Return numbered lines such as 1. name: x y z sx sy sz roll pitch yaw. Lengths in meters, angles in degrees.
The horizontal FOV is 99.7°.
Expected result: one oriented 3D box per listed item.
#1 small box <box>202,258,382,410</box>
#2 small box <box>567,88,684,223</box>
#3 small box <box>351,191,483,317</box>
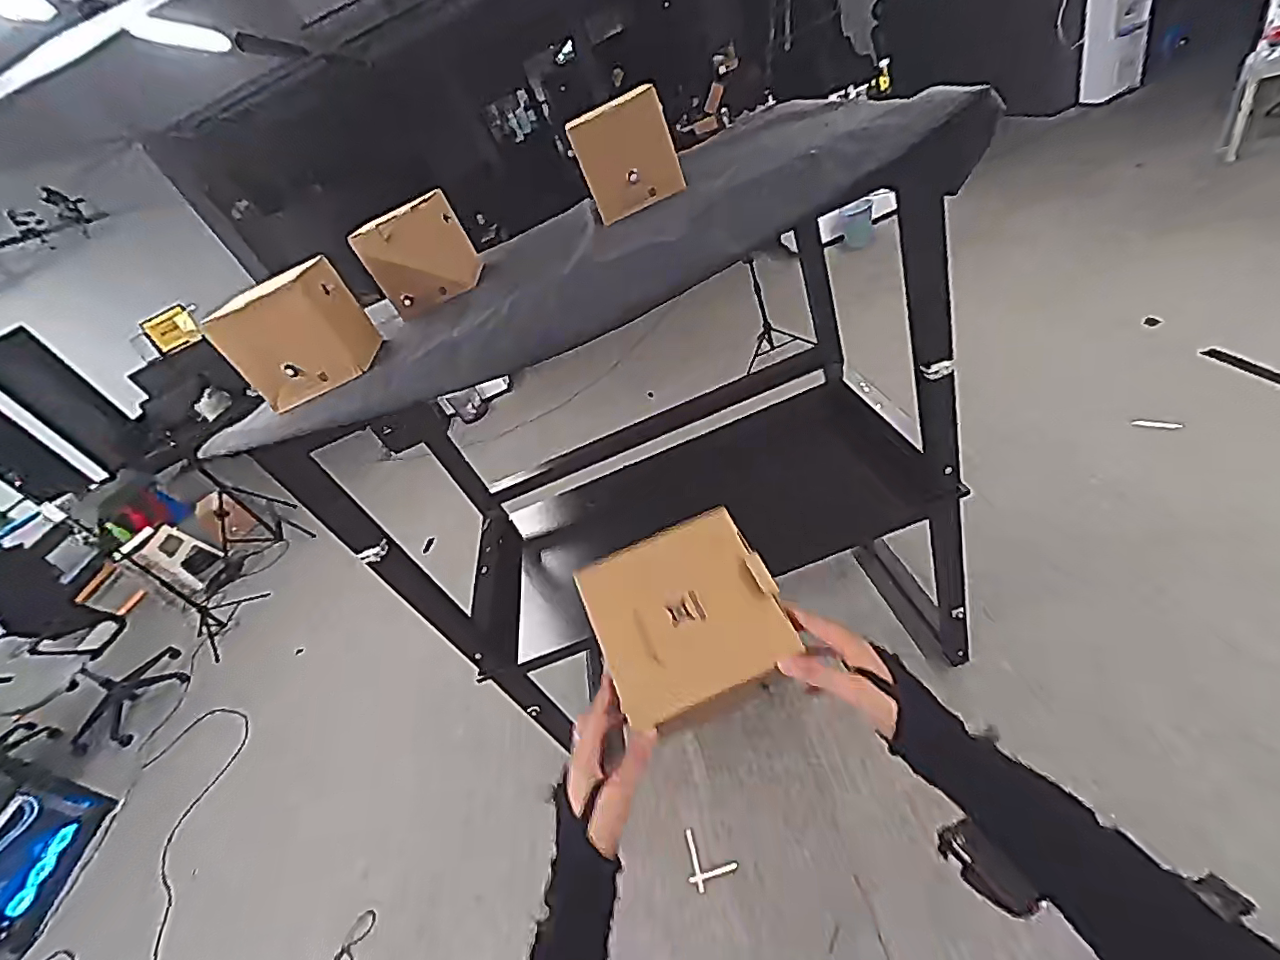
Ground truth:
1. small box: -0.569 -0.246 0.916 0.168 0.176 0.179 -25 36 3
2. small box: -0.028 -0.614 1.029 0.168 0.176 0.179 -22 36 9
3. small box: -0.437 -0.452 1.093 0.168 0.176 0.179 -22 35 6
